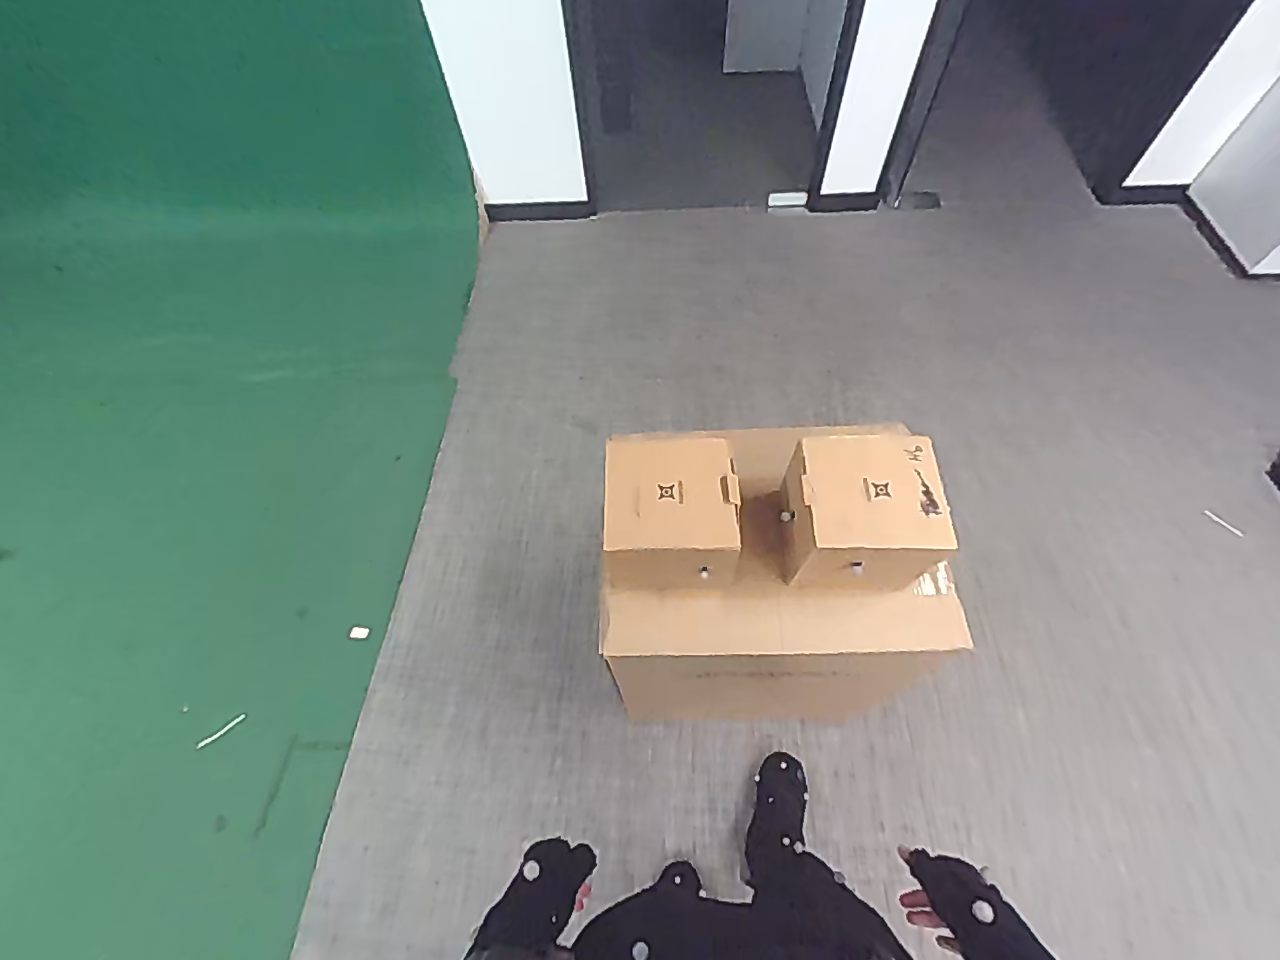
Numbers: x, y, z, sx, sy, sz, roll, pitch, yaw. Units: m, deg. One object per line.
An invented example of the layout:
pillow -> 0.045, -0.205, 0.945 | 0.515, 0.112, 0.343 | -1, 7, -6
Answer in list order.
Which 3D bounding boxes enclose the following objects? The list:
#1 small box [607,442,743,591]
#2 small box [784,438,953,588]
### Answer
small box -> 0.048, 0.059, 0.793 | 0.179, 0.176, 0.168 | -3, 61, 3
small box -> 0.309, 0.054, 0.781 | 0.179, 0.176, 0.168 | 0, 62, 4
